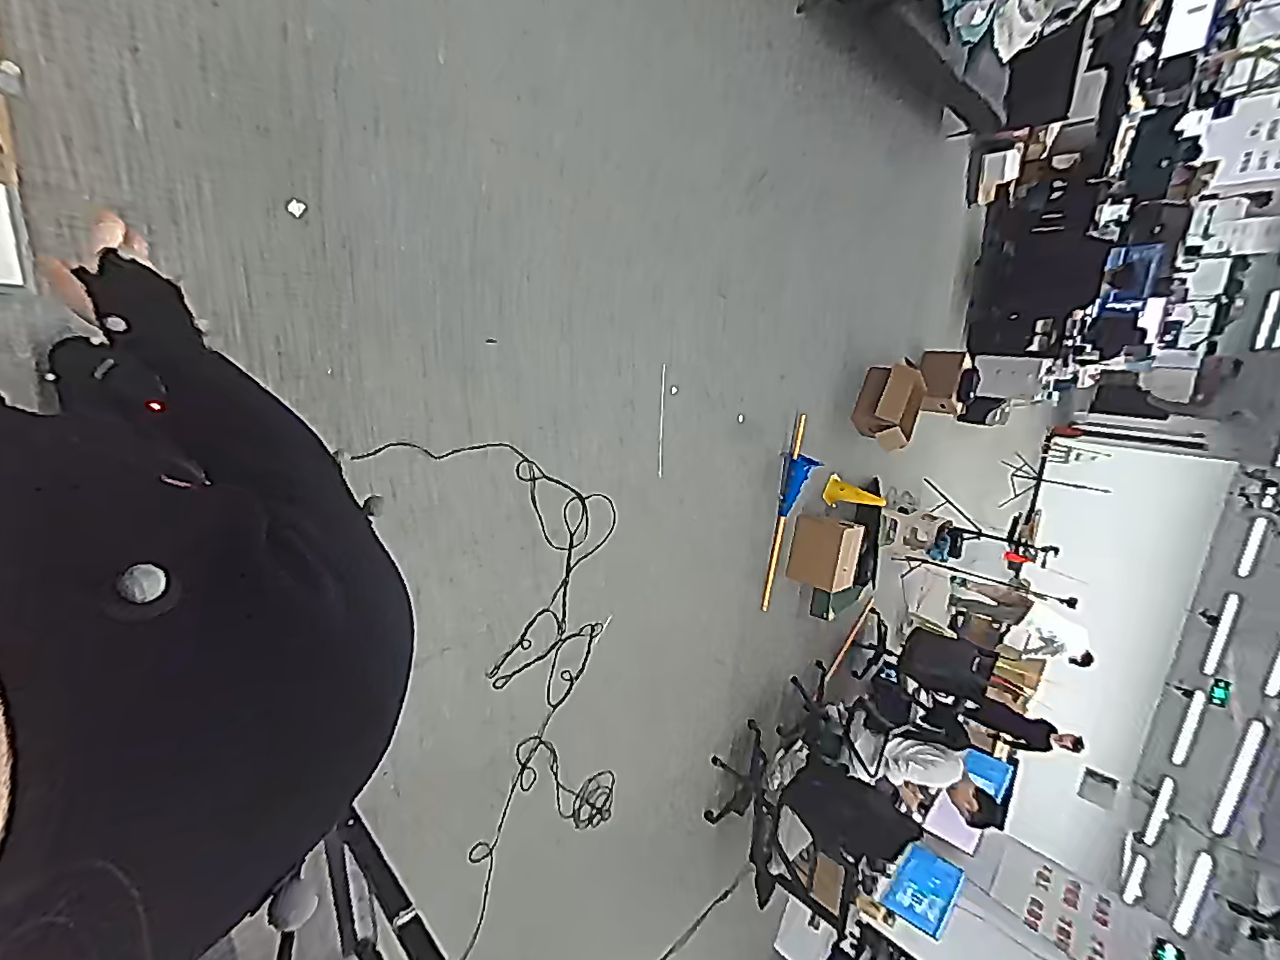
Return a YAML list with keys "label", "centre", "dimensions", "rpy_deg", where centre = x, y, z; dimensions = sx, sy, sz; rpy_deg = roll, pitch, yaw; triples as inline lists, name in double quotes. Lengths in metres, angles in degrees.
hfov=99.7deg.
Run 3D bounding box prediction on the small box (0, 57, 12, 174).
- label: "small box"
  centre: [-0.657, -0.380, 0.443]
  dimensions: [0.168, 0.176, 0.179]
  rpy_deg: [-7, 108, -44]
